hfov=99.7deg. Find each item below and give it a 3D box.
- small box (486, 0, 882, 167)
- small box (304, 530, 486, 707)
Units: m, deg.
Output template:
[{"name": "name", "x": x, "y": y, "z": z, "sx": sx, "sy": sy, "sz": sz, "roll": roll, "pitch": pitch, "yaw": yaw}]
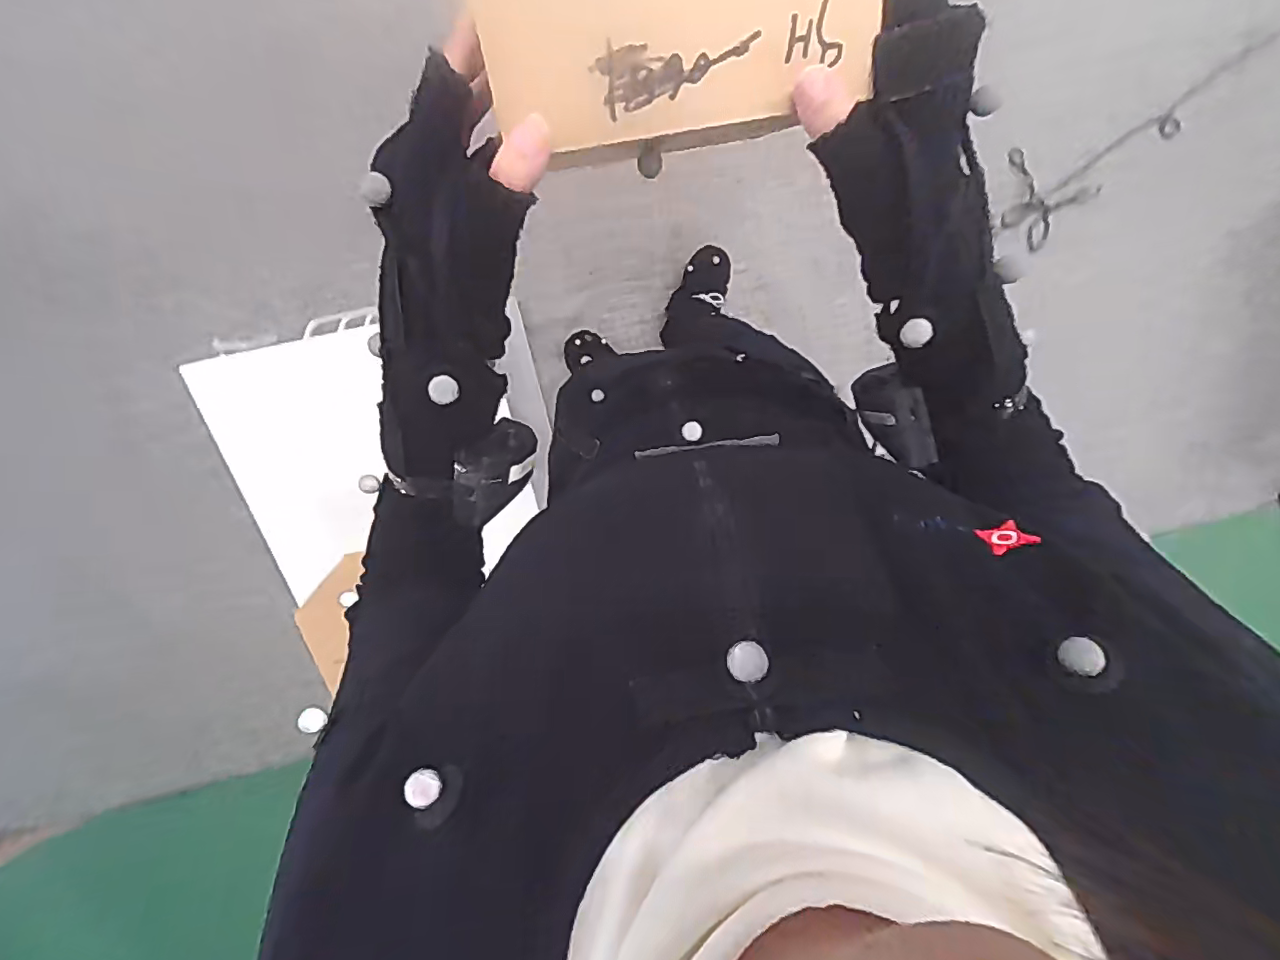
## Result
[{"name": "small box", "x": 0.008, "y": -0.272, "z": 0.272, "sx": 0.168, "sy": 0.176, "sz": 0.179, "roll": -8, "pitch": 117, "yaw": 0}, {"name": "small box", "x": -0.332, "y": 0.188, "z": 0.781, "sx": 0.179, "sy": 0.176, "sz": 0.168, "roll": -12, "pitch": 109, "yaw": -2}]
